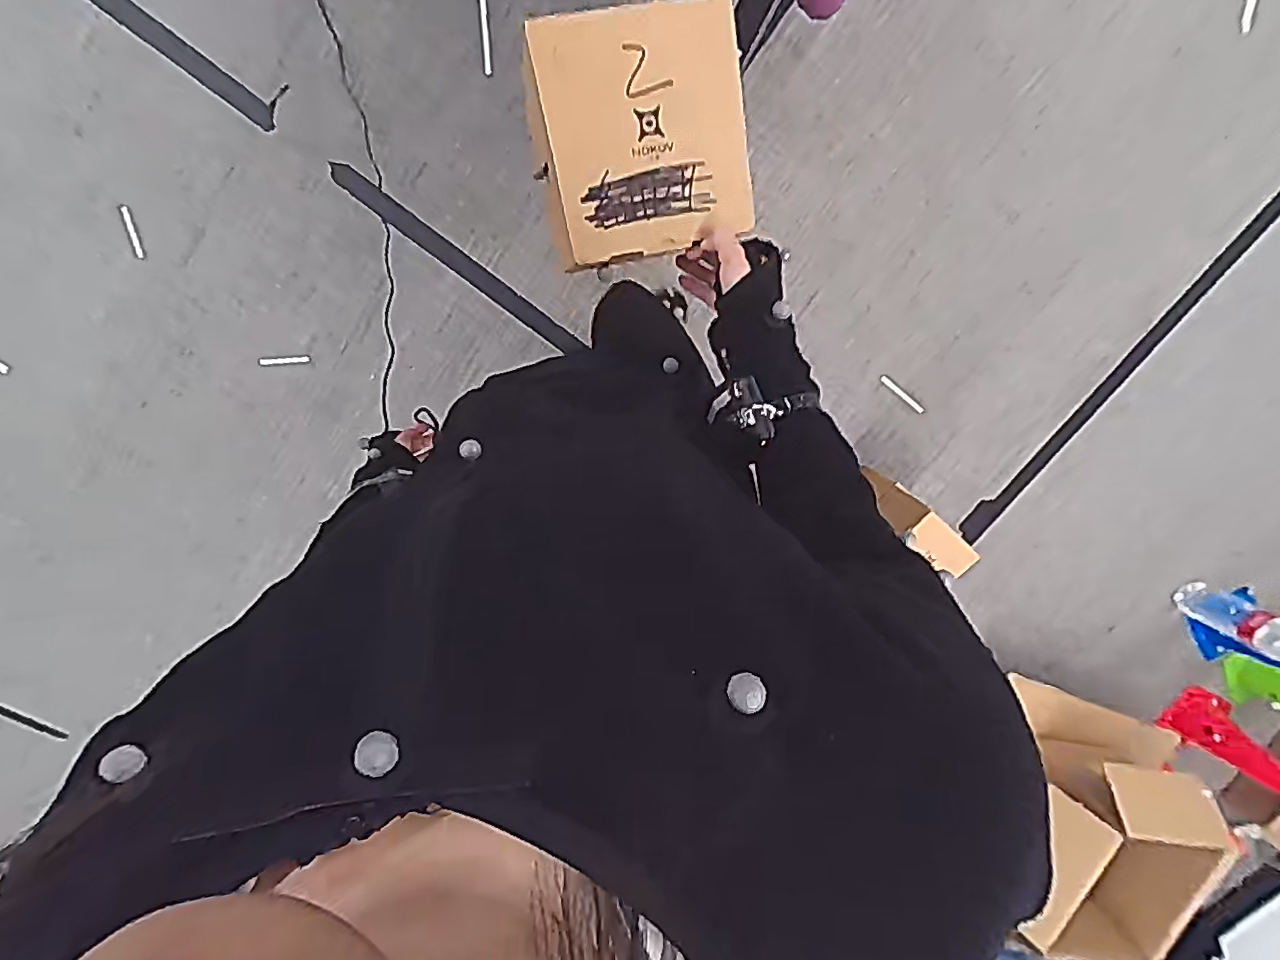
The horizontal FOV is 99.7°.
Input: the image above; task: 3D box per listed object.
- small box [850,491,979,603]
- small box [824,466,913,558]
[{"bbox_3d":[0.633,0.147,1.272,0.179,0.176,0.168,38,104,-15],"label":"small box"},{"bbox_3d":[0.621,0.089,1.424,0.168,0.176,0.179,40,102,-14],"label":"small box"}]
